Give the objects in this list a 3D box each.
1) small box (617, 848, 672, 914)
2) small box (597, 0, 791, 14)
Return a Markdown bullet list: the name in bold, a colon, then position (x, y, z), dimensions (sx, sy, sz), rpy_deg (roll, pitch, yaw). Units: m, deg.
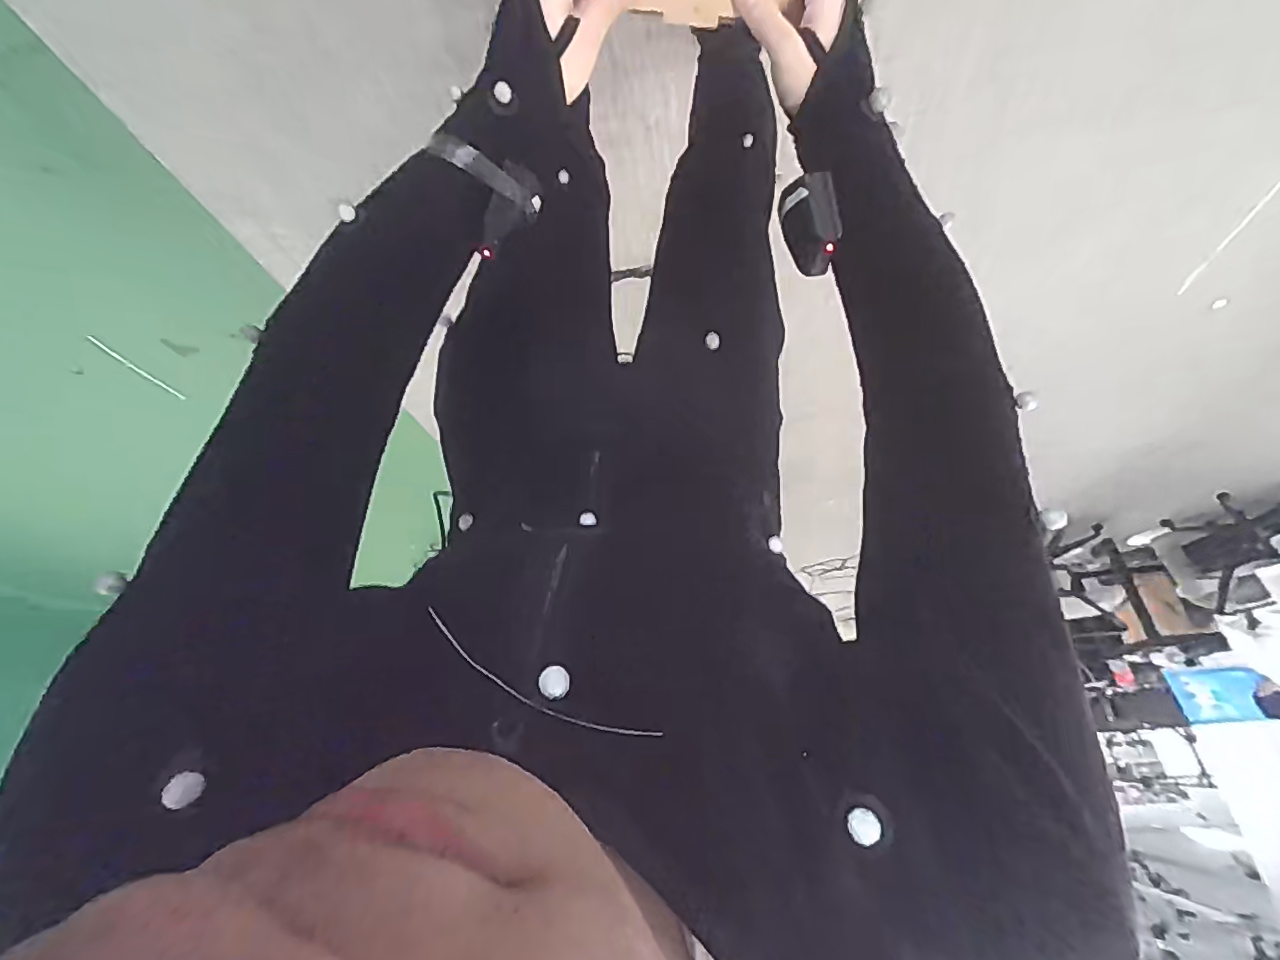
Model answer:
- **small box**: position (0.015, 1.465, 1.985), dimensions (0.179, 0.176, 0.168), rpy_deg (-9, 153, 8)
- **small box**: position (0.047, -0.498, 0.407), dimensions (0.168, 0.176, 0.179), rpy_deg (2, 149, -1)
